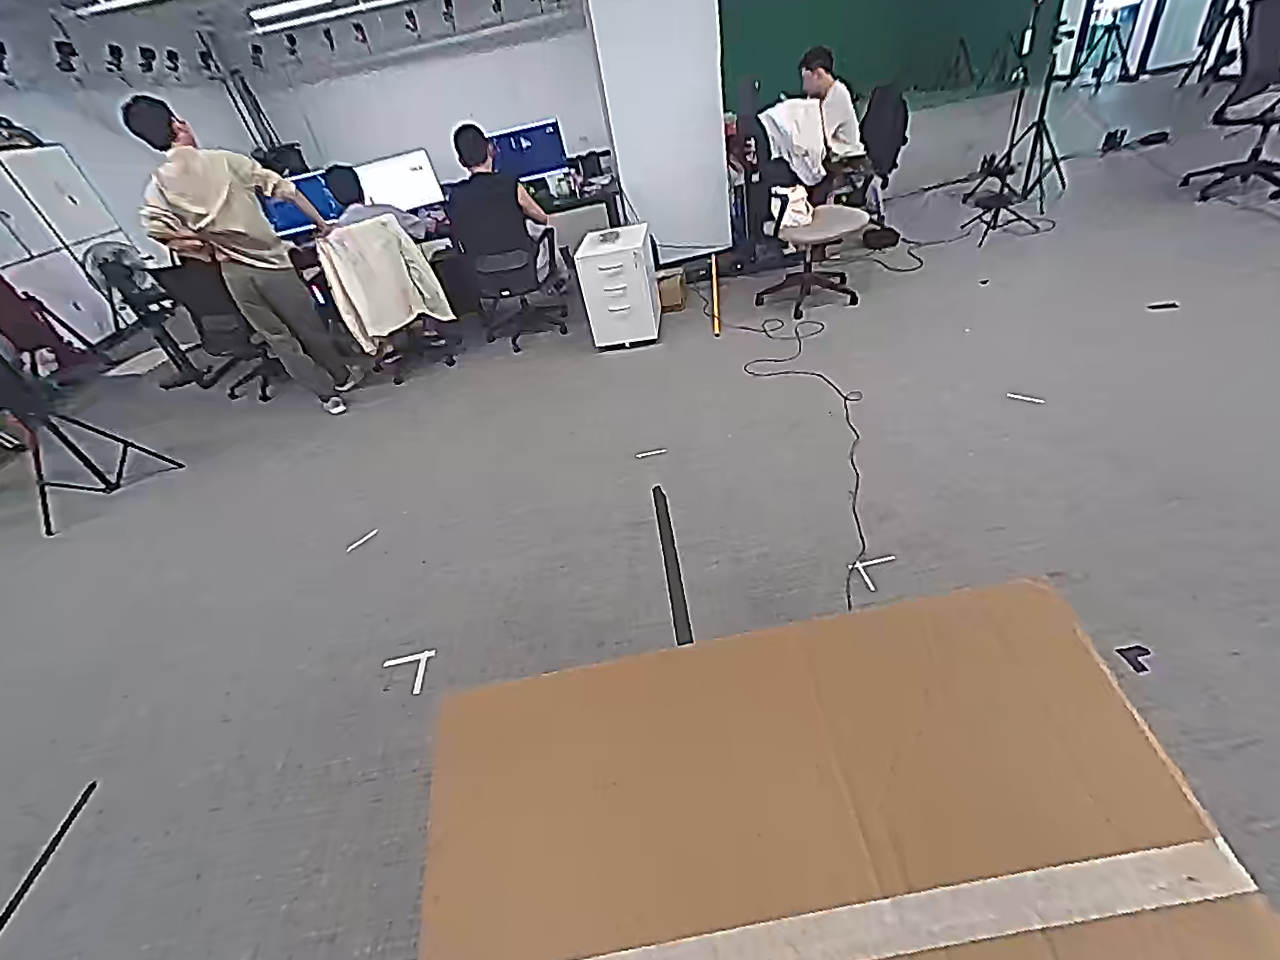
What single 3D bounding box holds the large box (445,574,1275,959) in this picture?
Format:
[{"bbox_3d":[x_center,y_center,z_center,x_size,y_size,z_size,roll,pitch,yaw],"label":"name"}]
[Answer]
[{"bbox_3d":[0.110,0.312,0.398,0.408,0.320,0.320,-12,55,2],"label":"large box"}]
